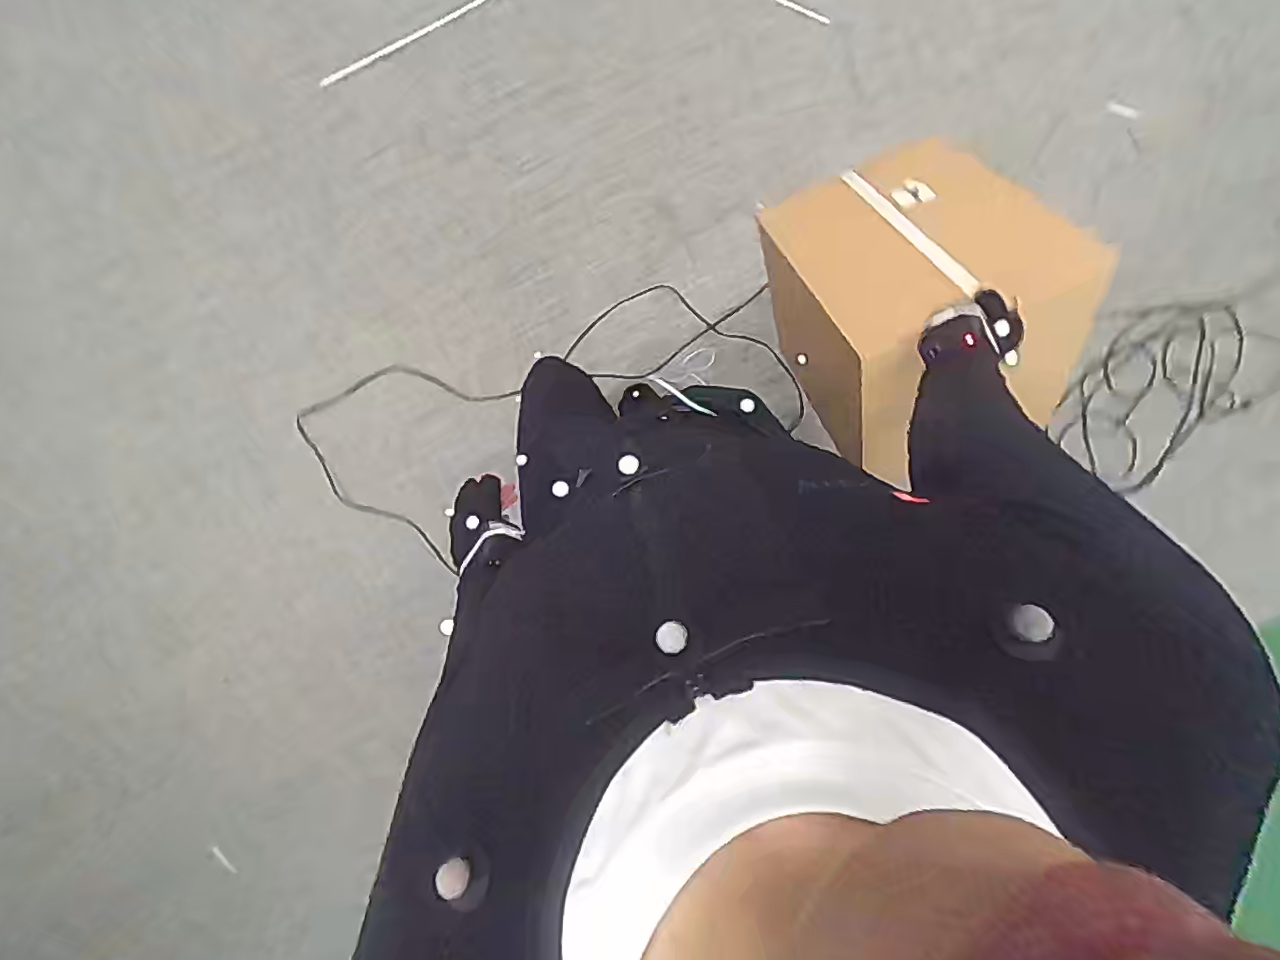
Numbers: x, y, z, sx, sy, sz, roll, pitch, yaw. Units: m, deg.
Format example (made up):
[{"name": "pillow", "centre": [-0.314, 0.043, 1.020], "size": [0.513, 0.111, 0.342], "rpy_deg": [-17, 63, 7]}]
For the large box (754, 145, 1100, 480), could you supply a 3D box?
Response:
[{"name": "large box", "centre": [0.432, -0.277, 0.910], "size": [0.320, 0.408, 0.320], "rpy_deg": [-21, 139, 7]}]
